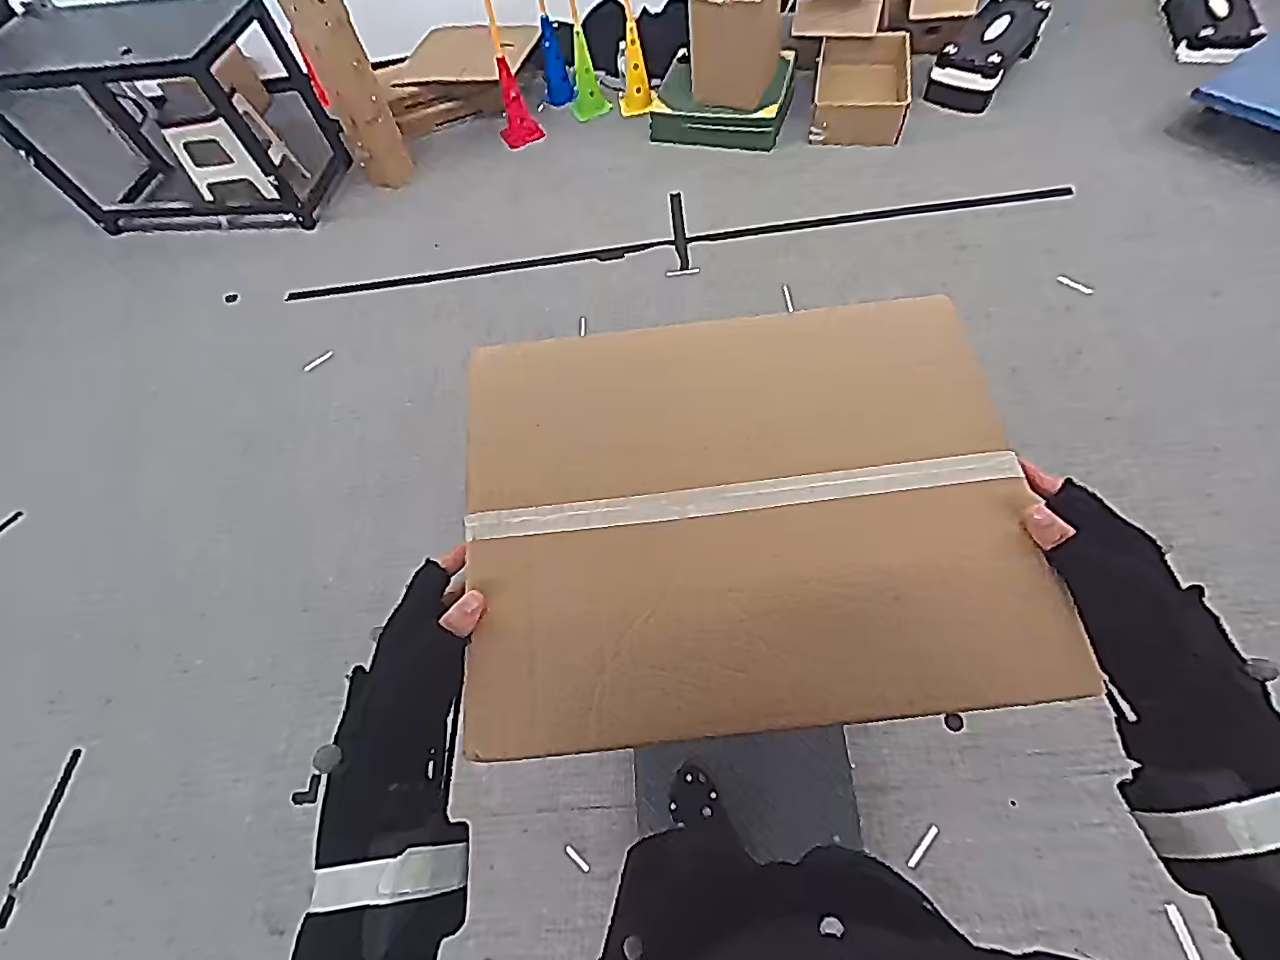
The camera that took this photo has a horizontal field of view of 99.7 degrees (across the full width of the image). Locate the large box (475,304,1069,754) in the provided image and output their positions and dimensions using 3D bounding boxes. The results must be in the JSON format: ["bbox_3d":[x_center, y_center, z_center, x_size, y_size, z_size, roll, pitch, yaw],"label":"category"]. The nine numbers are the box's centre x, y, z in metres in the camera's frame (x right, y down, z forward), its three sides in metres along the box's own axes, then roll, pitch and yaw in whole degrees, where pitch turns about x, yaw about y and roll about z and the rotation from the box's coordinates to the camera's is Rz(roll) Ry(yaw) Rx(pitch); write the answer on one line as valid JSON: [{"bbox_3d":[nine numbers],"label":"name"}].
[{"bbox_3d":[0.081,0.065,0.546,0.408,0.320,0.320,-6,69,0],"label":"large box"}]
